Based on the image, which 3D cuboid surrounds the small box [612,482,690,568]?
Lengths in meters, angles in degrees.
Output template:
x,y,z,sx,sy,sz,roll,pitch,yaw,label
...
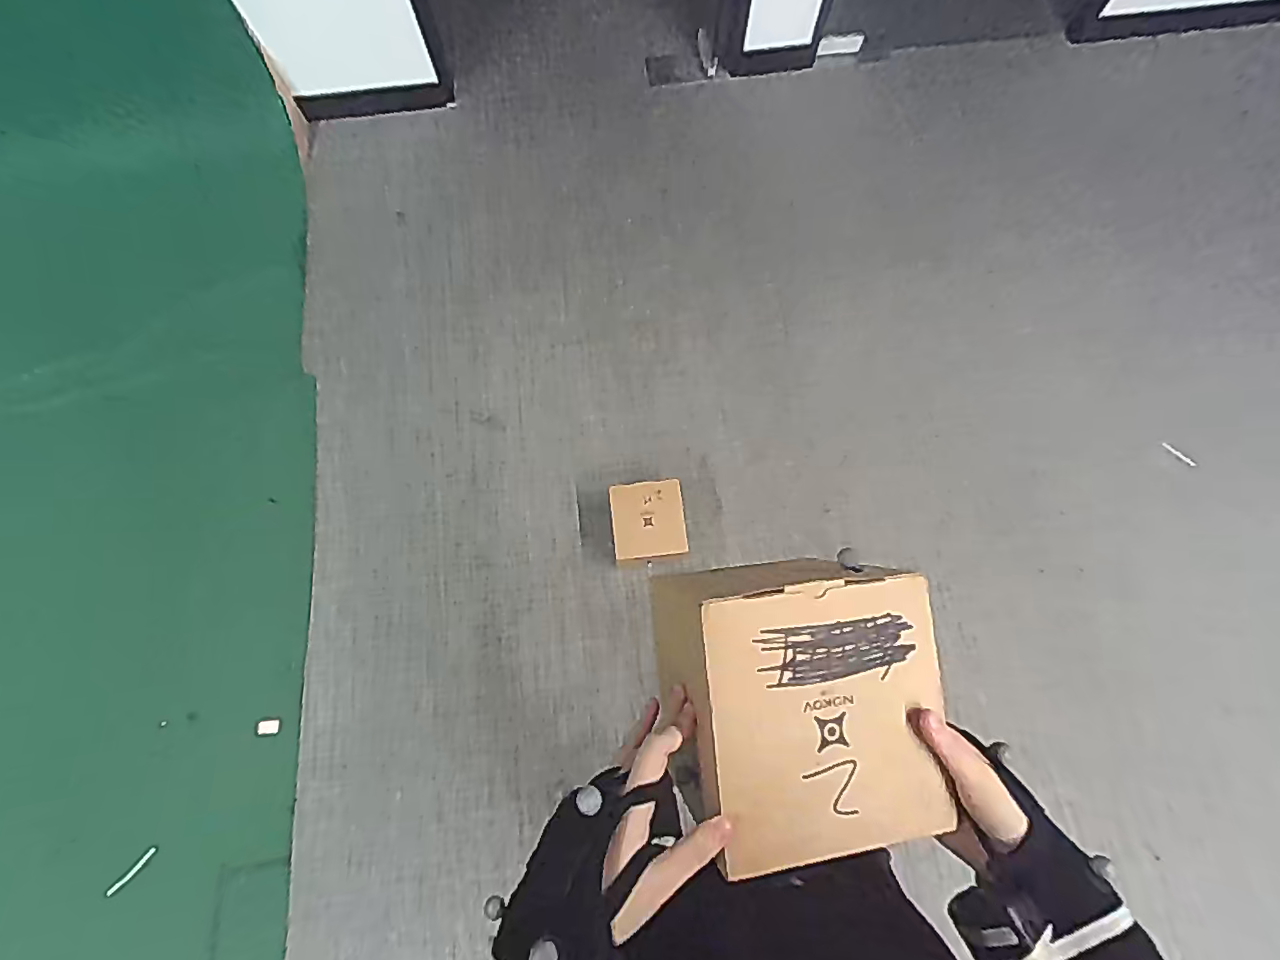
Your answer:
x,y,z,sx,sy,sz,roll,pitch,yaw,label
0.026,0.116,1.305,0.168,0.176,0.179,-6,74,-2,small box
